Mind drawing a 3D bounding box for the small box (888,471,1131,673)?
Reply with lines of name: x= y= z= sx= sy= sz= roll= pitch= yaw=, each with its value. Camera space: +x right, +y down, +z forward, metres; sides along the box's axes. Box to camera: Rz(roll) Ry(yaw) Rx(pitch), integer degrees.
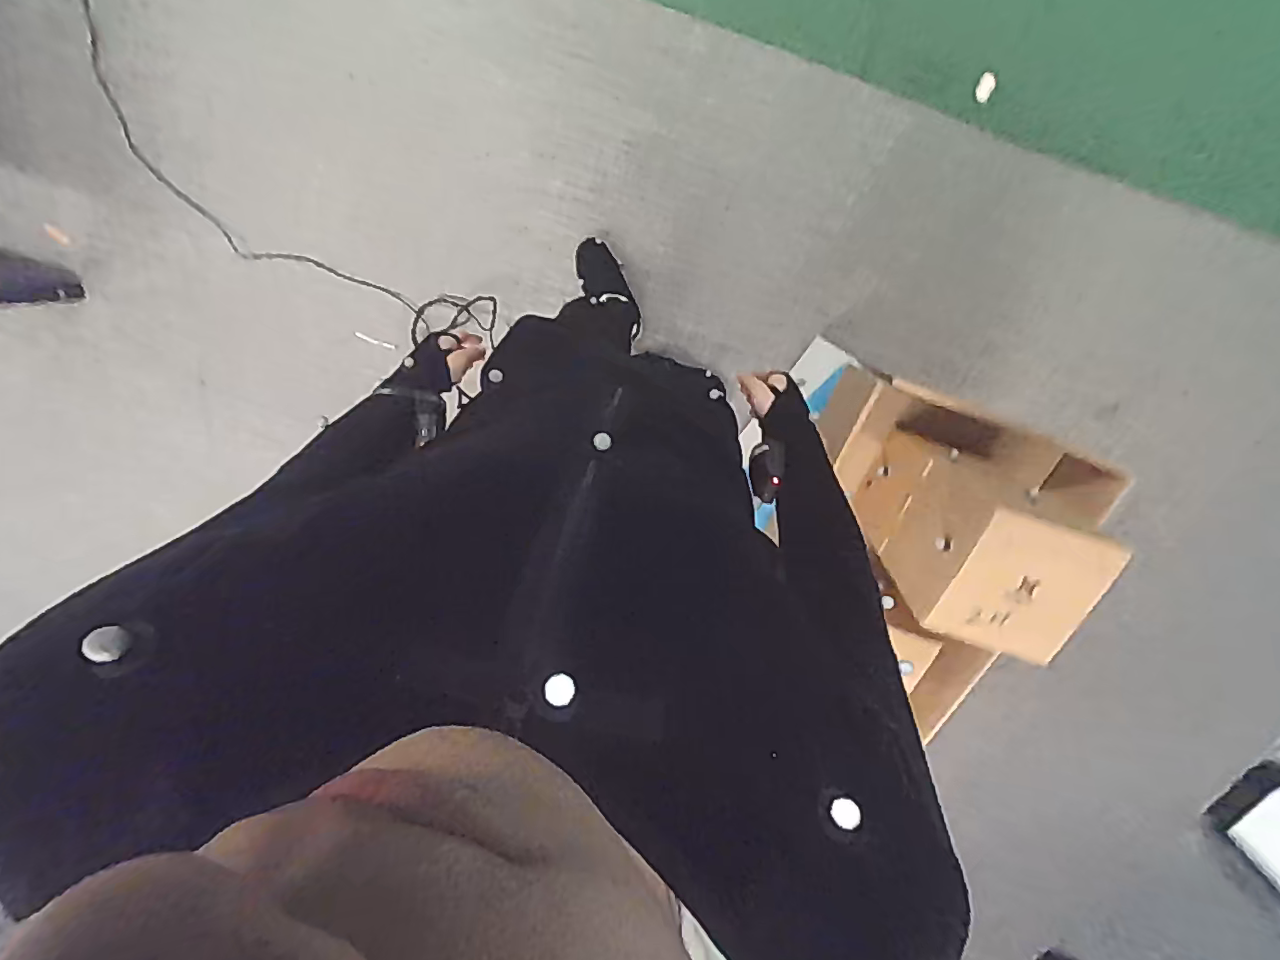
small box: x=0.456 y=0.109 z=0.708 sx=0.168 sy=0.176 sz=0.179 roll=19 pitch=113 yaw=-1
